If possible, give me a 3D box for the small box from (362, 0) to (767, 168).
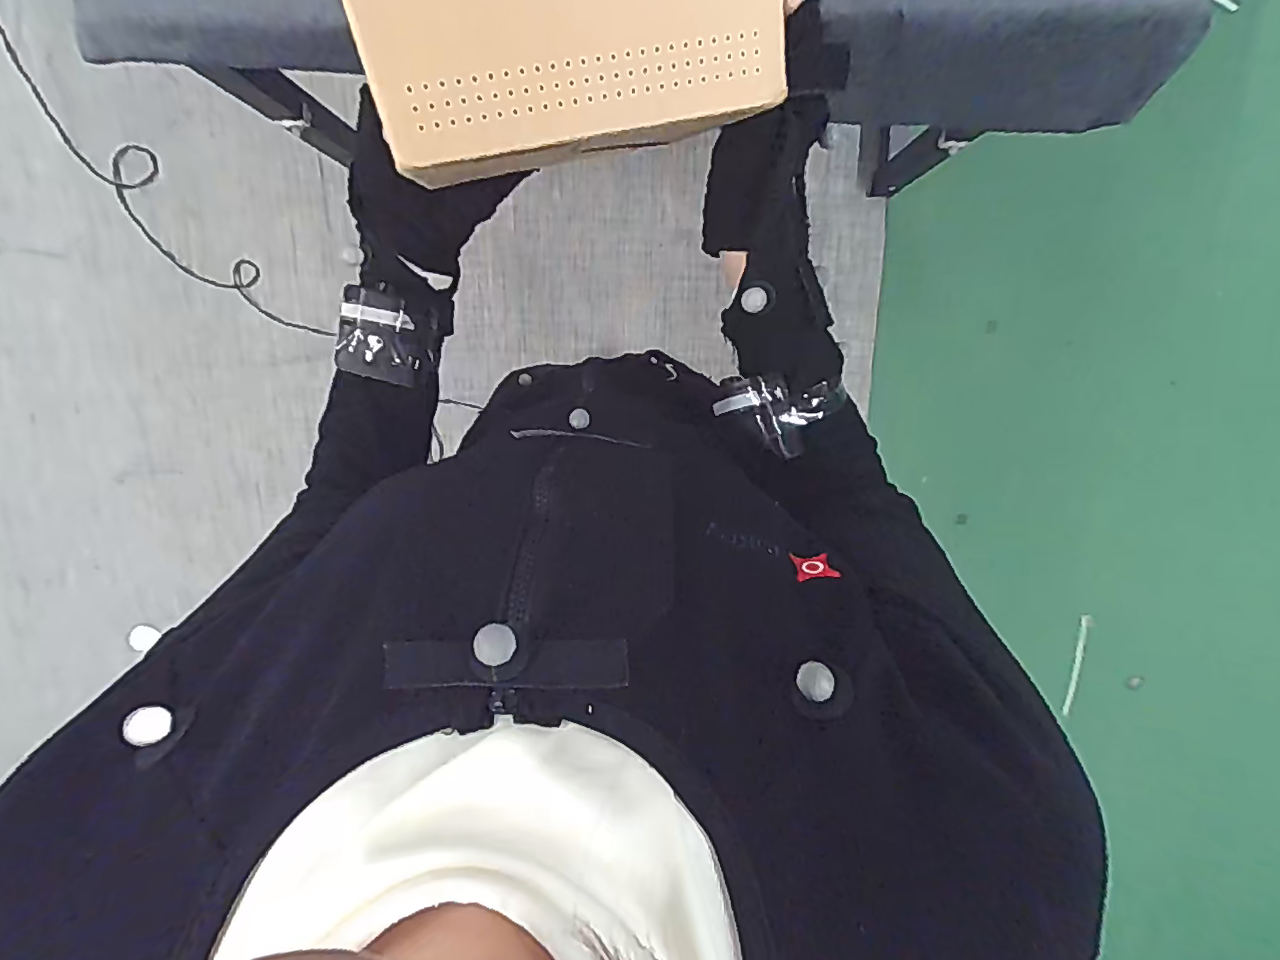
[{"bbox_3d":[-0.050,-0.267,0.275,0.179,0.168,0.176,-15,119,-8],"label":"small box"}]
